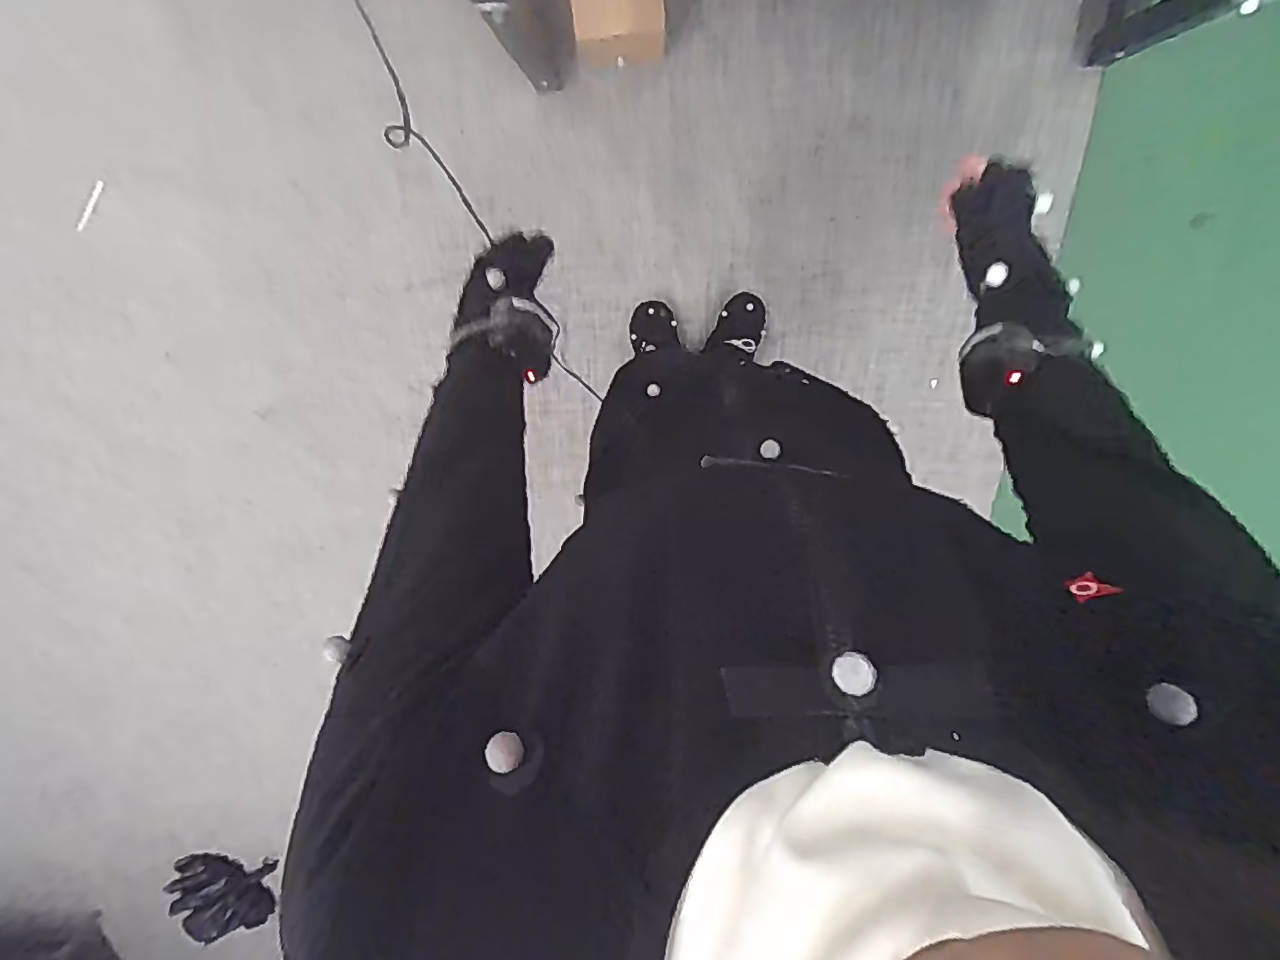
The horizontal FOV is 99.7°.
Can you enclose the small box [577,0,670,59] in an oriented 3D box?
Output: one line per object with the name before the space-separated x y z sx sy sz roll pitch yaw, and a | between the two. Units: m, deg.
small box | -0.033 -0.923 1.006 0.168 0.176 0.179 -4 114 4
